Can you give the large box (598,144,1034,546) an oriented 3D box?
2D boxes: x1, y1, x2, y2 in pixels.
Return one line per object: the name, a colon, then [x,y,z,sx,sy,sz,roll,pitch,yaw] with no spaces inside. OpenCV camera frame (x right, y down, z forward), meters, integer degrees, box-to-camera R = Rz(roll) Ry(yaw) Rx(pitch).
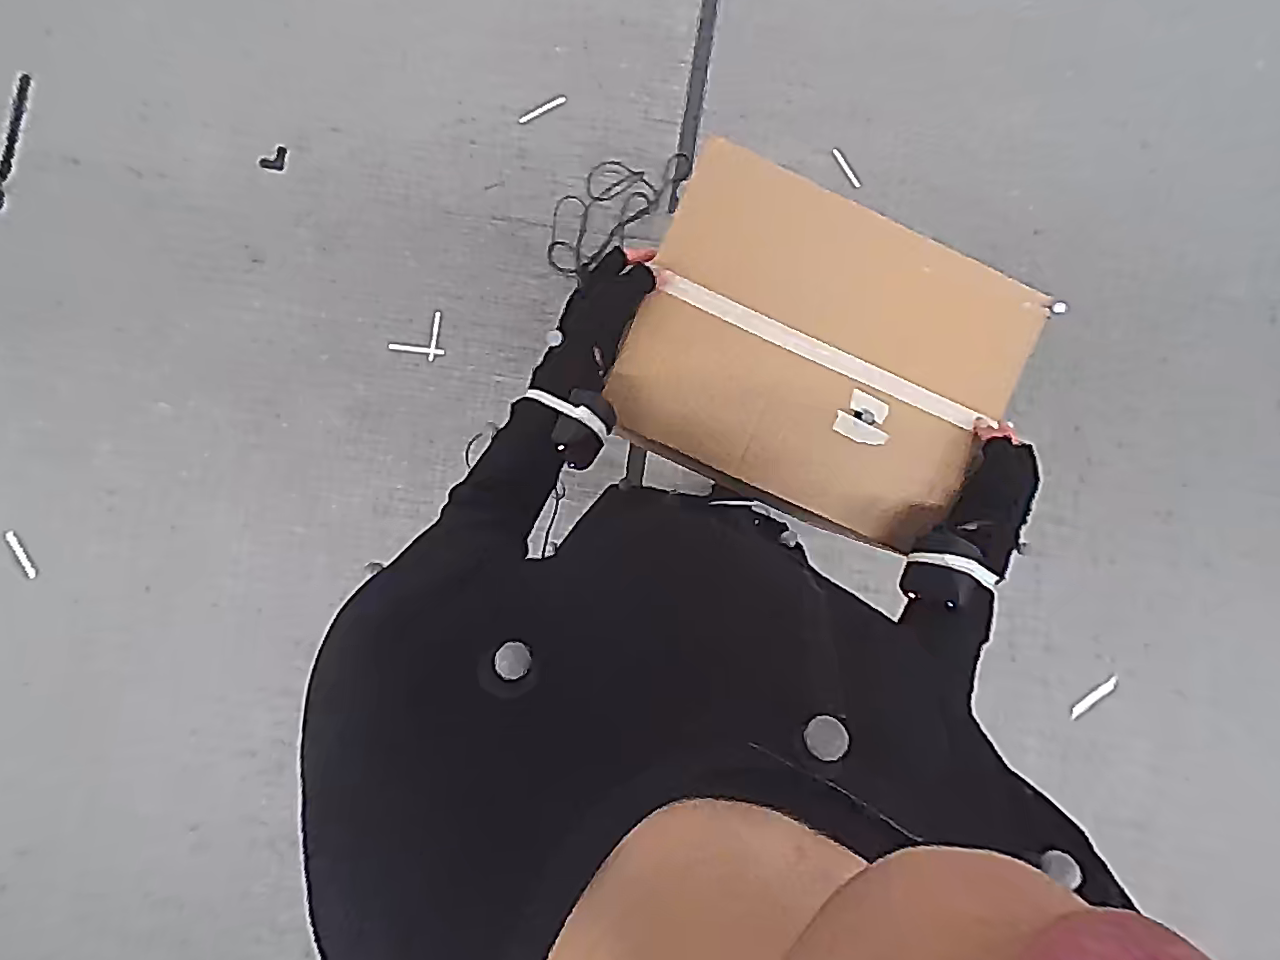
large box: [0.185,-0.149,0.733,0.408,0.320,0.320,24,93,-4]
